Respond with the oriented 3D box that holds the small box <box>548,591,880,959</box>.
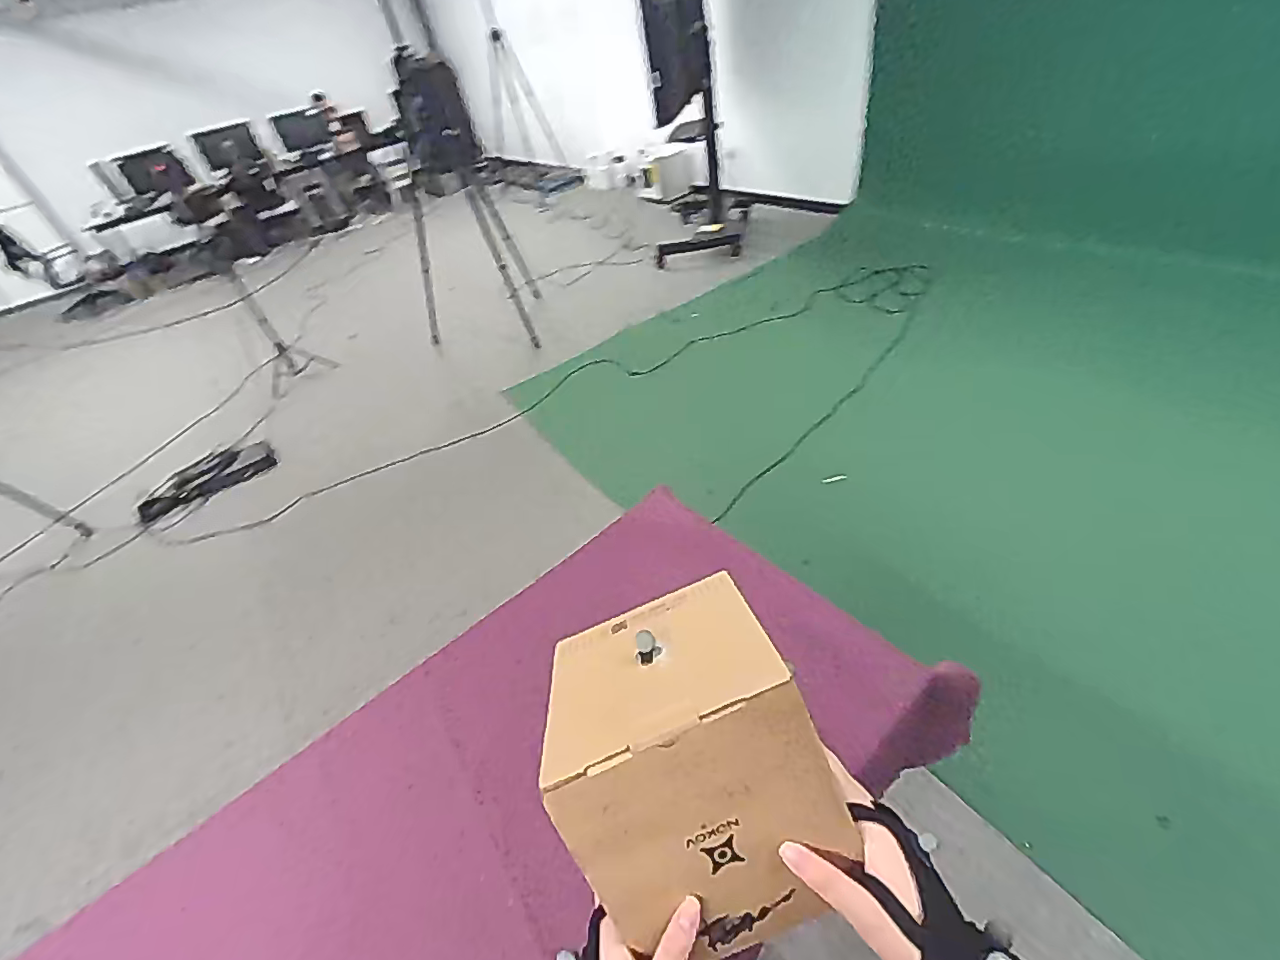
[{"bbox_3d":[0.045,0.206,0.413,0.168,0.179,0.176,-23,14,2],"label":"small box"}]
